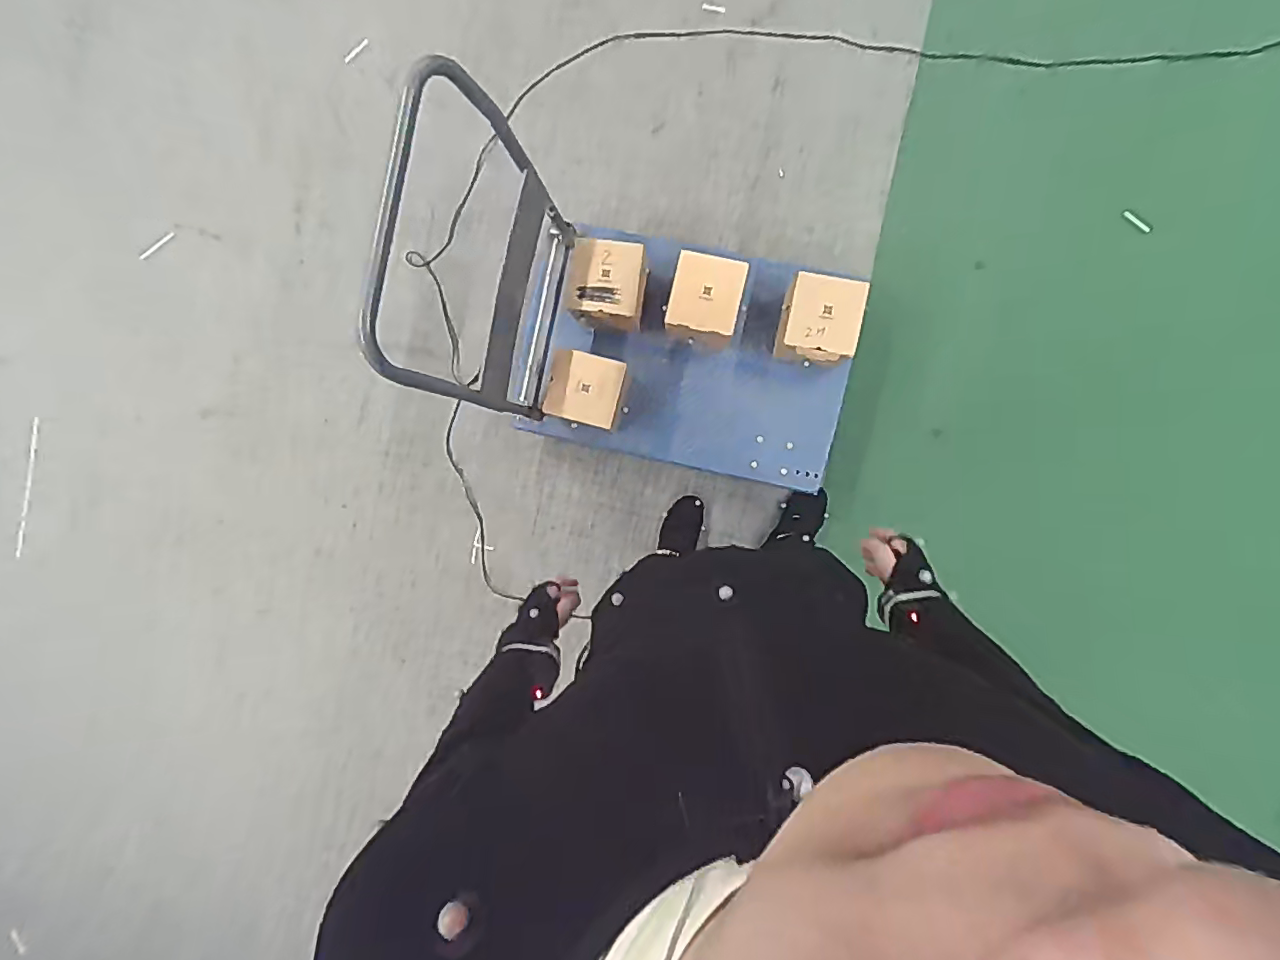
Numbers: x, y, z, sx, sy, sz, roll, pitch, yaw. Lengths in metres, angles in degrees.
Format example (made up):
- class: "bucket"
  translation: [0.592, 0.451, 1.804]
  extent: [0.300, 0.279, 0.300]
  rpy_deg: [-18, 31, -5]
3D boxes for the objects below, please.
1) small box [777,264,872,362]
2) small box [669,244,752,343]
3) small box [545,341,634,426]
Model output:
- class: "small box"
  translation: [0.443, -0.402, 1.326]
  extent: [0.168, 0.176, 0.179]
  rpy_deg: [12, 93, 5]
- class: "small box"
  translation: [0.169, -0.458, 1.349]
  extent: [0.168, 0.176, 0.179]
  rpy_deg: [13, 95, 4]
- class: "small box"
  translation: [-0.122, -0.238, 1.378]
  extent: [0.179, 0.176, 0.168]
  rpy_deg: [15, 93, 3]
